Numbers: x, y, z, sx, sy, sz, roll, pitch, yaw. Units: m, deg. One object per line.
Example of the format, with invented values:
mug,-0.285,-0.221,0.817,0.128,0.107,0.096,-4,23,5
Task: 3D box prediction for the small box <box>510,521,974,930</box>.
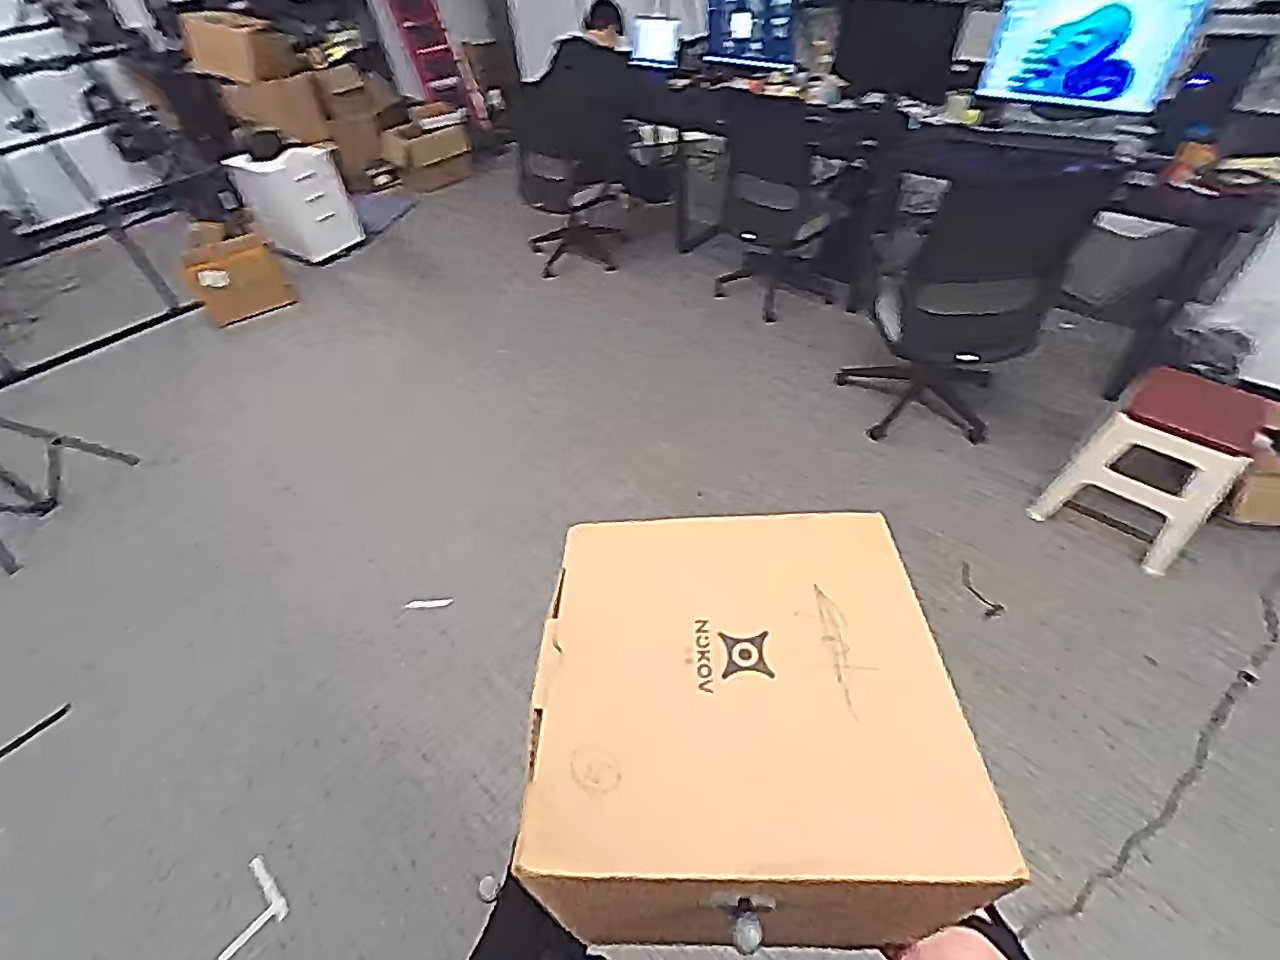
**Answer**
small box,0.043,0.142,0.311,0.179,0.176,0.168,-2,44,3
